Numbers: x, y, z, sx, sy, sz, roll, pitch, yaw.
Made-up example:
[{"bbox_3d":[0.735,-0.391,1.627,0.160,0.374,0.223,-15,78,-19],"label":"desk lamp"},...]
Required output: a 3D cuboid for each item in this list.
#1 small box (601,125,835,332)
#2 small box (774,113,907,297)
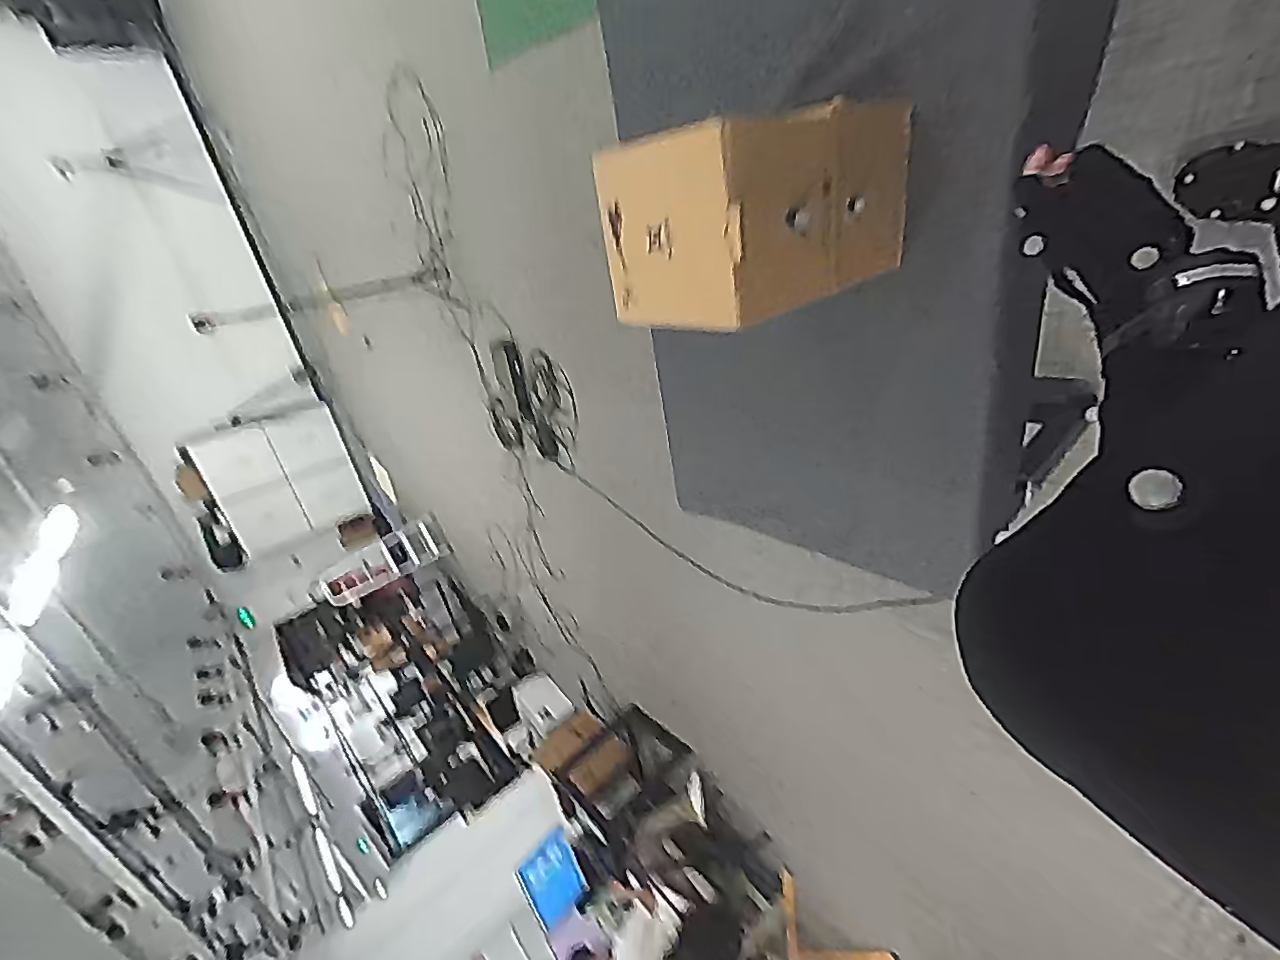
[{"bbox_3d":[0.089,-0.263,0.573,0.179,0.176,0.168,19,128,45],"label":"small box"},{"bbox_3d":[0.207,-0.331,0.663,0.168,0.176,0.179,19,127,45],"label":"small box"}]
